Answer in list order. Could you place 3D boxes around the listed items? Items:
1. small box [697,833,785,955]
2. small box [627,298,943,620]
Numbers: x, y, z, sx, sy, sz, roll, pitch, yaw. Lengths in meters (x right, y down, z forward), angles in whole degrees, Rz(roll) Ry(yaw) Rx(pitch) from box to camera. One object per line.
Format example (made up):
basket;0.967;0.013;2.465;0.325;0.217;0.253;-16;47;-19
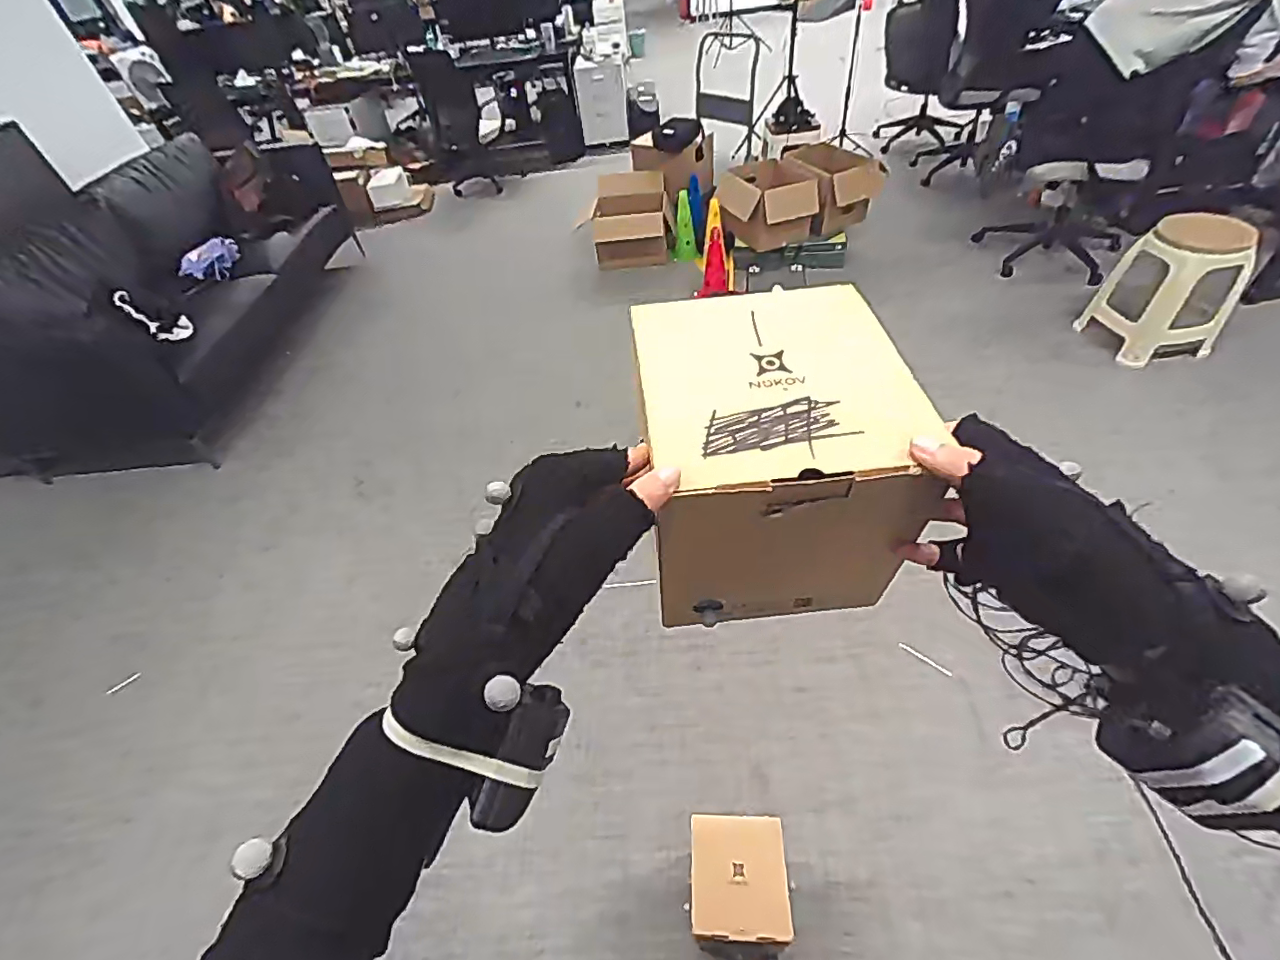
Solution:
small box;0.202;0.852;1.113;0.168;0.176;0.179;-2;47;8
small box;0.083;-0.008;0.405;0.168;0.176;0.179;-6;50;-1
